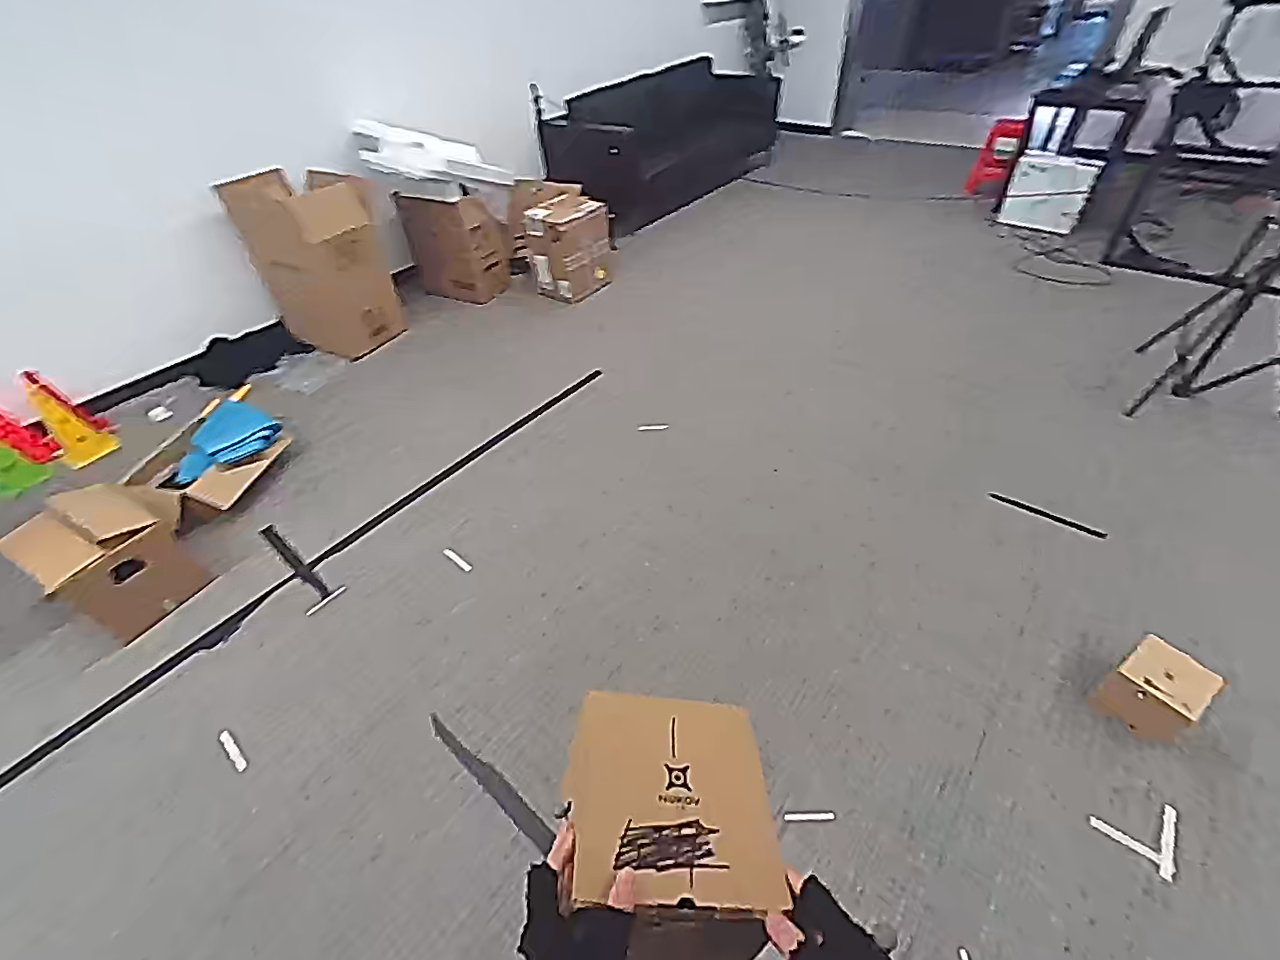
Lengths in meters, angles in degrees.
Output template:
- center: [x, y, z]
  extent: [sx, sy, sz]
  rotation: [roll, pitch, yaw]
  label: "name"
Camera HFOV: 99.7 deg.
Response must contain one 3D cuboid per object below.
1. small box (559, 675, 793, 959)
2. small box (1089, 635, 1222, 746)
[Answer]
- center: [0.020, 0.317, 0.507]
  extent: [0.168, 0.176, 0.179]
  rotation: [10, 31, -7]
  label: "small box"
- center: [1.321, 0.545, 1.398]
  extent: [0.179, 0.176, 0.168]
  rotation: [-28, 48, -23]
  label: "small box"
